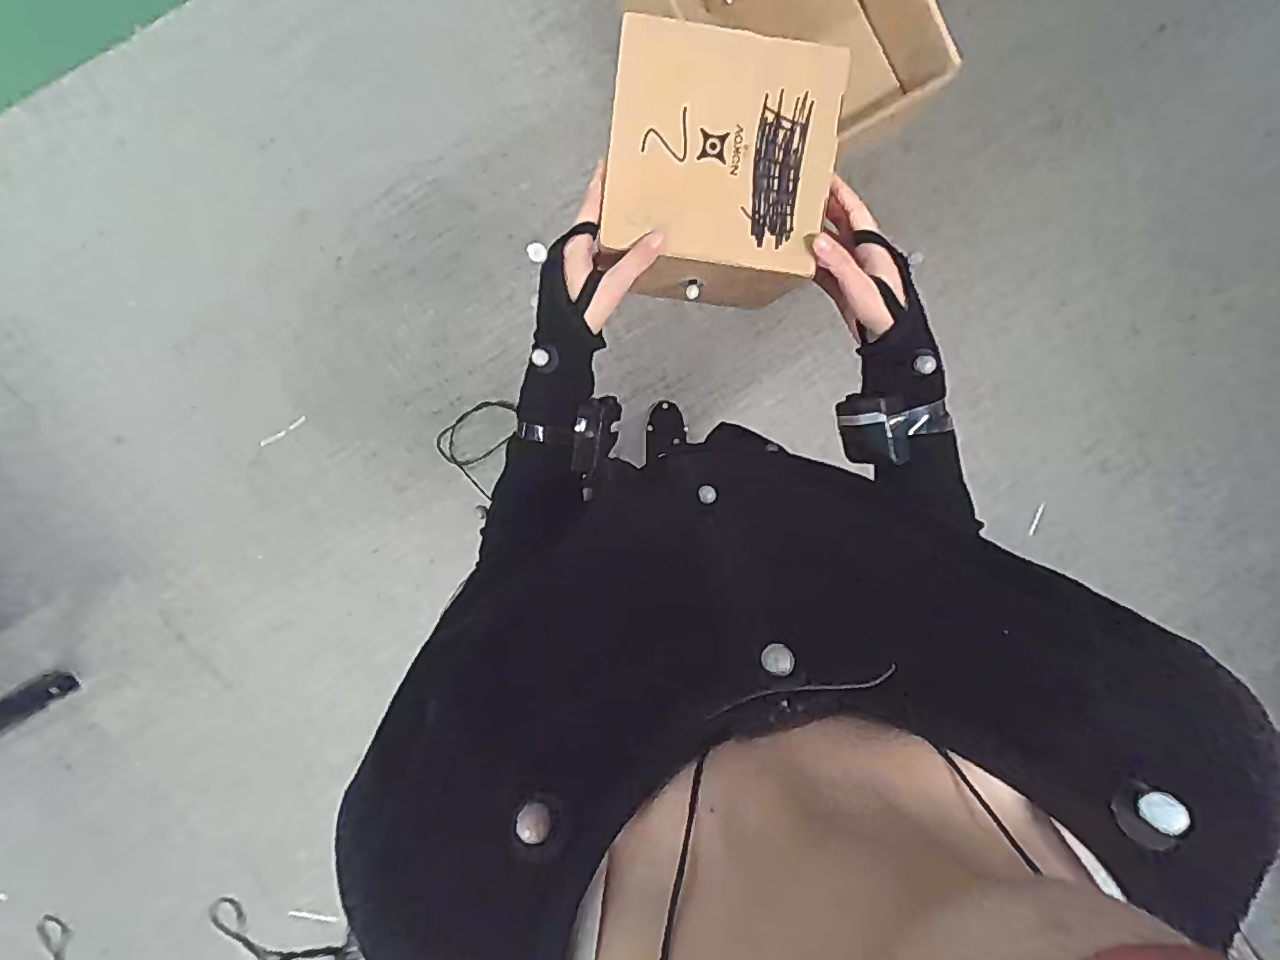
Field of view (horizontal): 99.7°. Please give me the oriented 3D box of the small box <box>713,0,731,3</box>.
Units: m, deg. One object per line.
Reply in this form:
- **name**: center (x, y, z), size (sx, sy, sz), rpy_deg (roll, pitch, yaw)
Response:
- **small box**: center (0.174, -0.974, 0.920), size (0.168, 0.176, 0.179), rpy_deg (-28, 95, 0)

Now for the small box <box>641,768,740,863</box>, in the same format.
- **small box**: center (0.114, 0.852, 1.326), size (0.179, 0.176, 0.168), rpy_deg (-31, 94, 0)

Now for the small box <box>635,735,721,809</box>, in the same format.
- **small box**: center (0.097, 0.845, 1.489), size (0.179, 0.176, 0.168), rpy_deg (-31, 95, 0)
